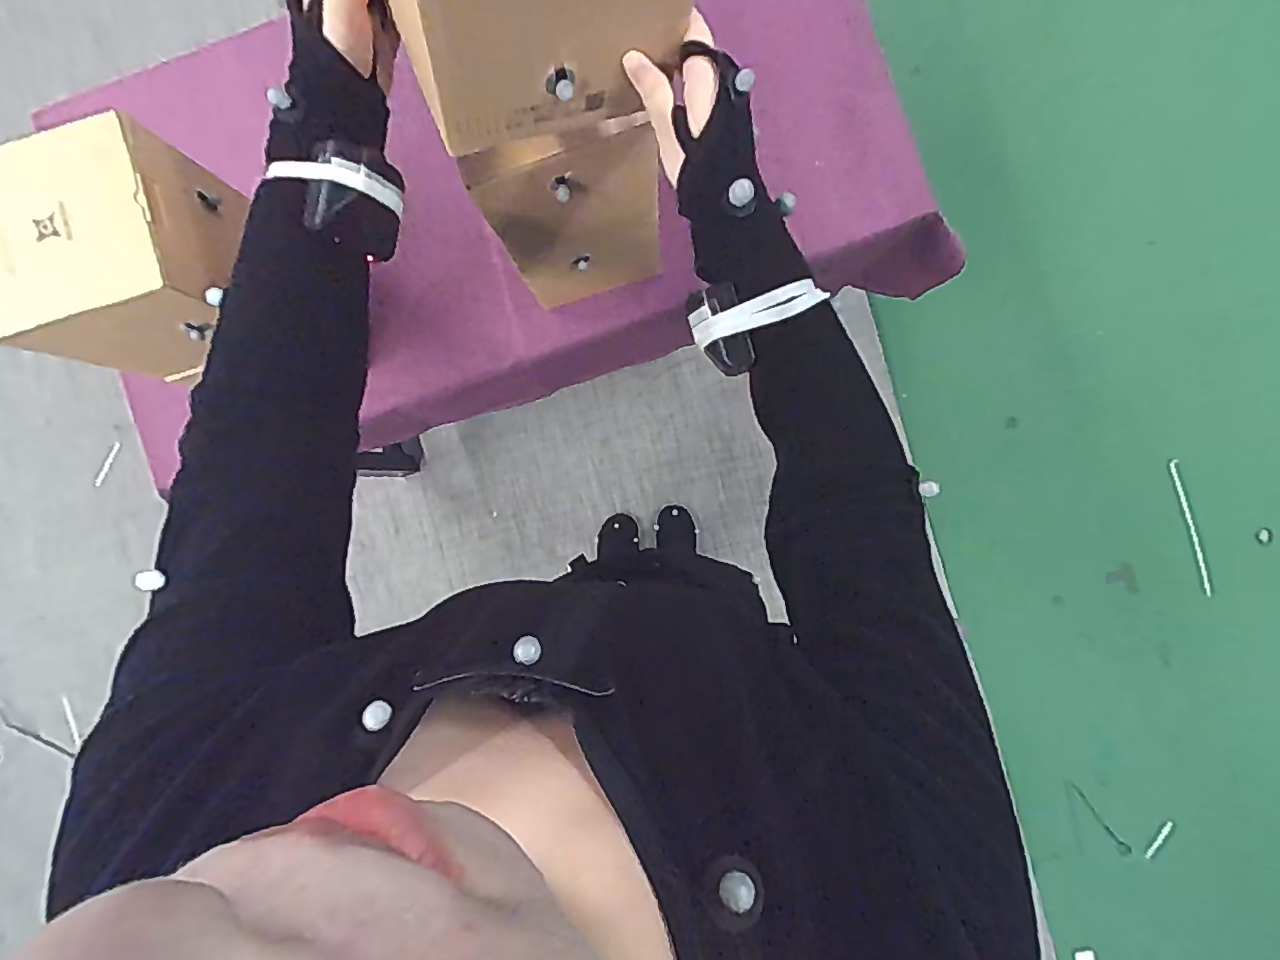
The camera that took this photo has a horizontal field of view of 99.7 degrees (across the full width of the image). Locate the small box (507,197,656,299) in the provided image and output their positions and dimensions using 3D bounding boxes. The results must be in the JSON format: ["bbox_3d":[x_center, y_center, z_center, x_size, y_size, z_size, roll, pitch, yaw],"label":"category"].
[{"bbox_3d":[-0.083,-0.356,0.698,0.179,0.176,0.168,-17,90,2],"label":"small box"}]

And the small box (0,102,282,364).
[{"bbox_3d":[-0.507,-0.232,0.553,0.179,0.176,0.168,-15,90,3],"label":"small box"}]

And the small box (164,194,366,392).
[{"bbox_3d":[-0.501,-0.233,0.717,0.168,0.176,0.179,-16,89,3],"label":"small box"}]

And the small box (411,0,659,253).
[{"bbox_3d":[-0.086,-0.356,0.535,0.179,0.176,0.168,-18,90,3],"label":"small box"}]
